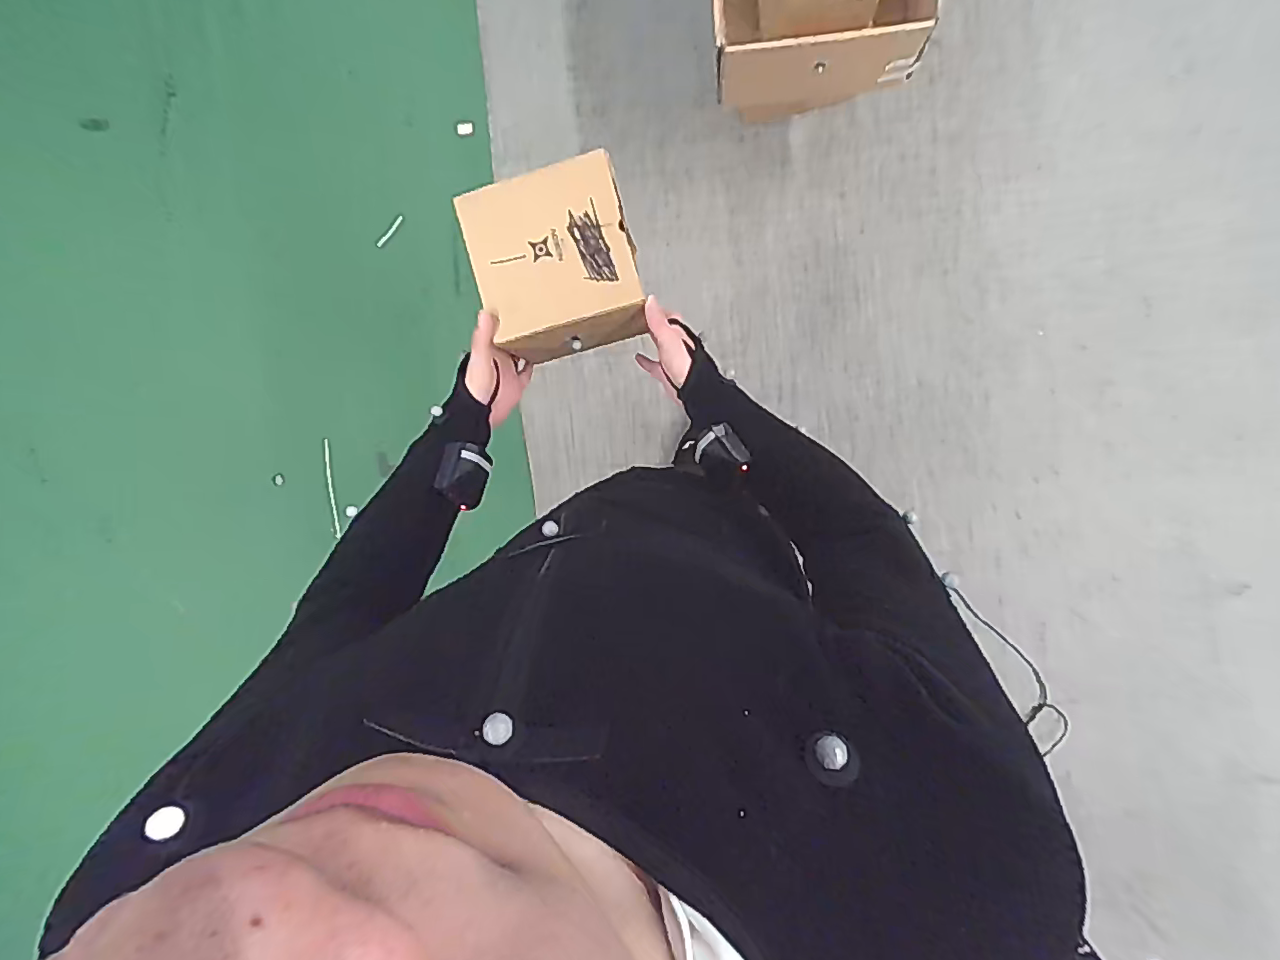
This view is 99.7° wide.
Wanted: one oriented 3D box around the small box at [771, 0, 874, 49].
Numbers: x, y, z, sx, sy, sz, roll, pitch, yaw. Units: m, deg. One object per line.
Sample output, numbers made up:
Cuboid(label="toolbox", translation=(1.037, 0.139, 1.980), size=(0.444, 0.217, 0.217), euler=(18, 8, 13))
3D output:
Cuboid(label="small box", translation=(0.346, -0.957, 1.010), size=(0.179, 0.176, 0.168), euler=(-4, 93, 6))

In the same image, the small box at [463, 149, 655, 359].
Cuboid(label="small box", translation=(-0.083, -0.256, 0.657), size=(0.179, 0.176, 0.168), euler=(-15, 93, 5))
